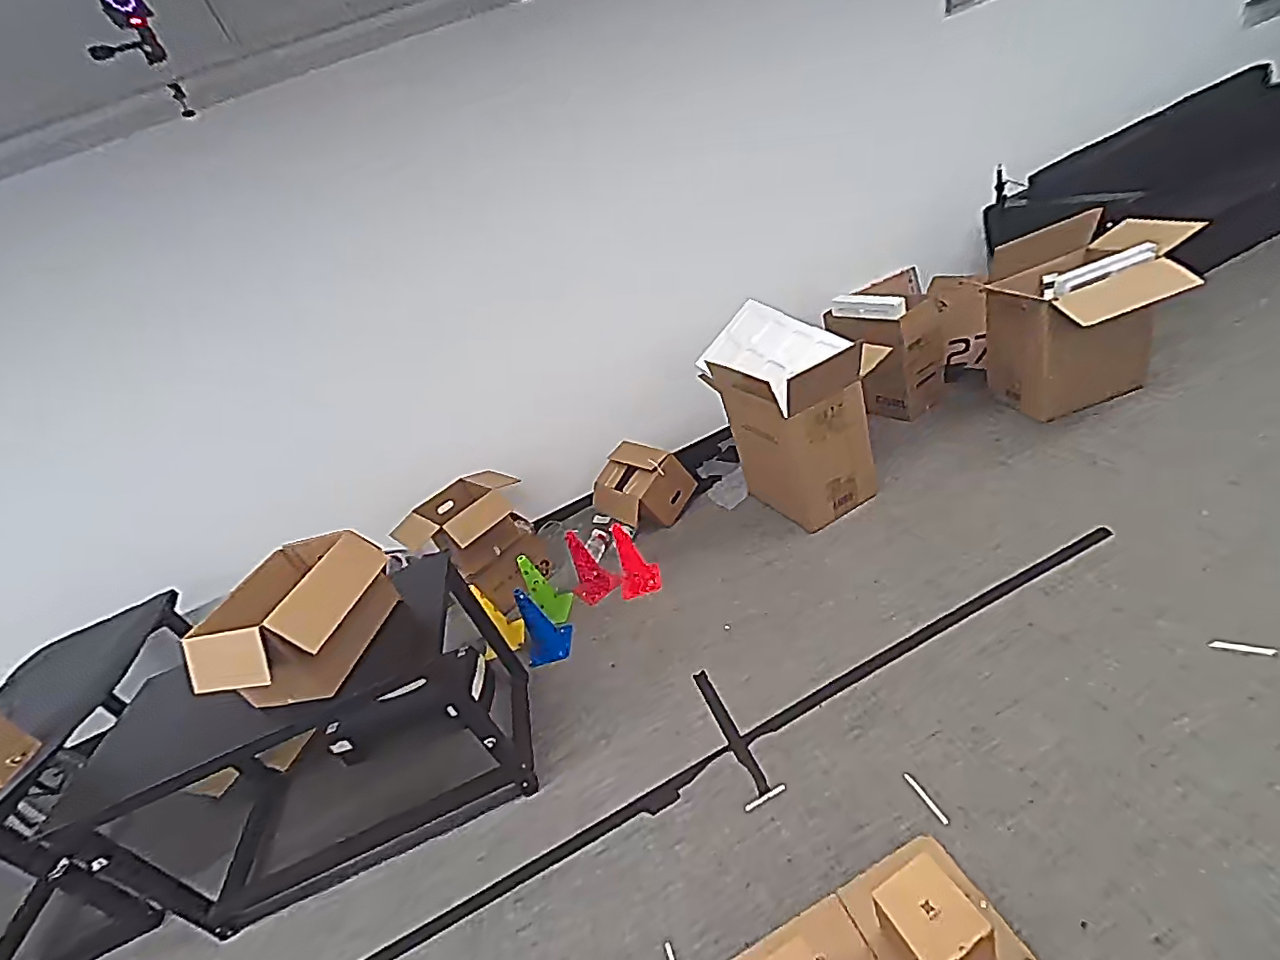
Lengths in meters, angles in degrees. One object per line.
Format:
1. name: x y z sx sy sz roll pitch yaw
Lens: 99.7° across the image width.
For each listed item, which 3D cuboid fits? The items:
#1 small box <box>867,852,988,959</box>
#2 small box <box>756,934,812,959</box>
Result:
1. small box: 0.640 0.998 1.208 0.168 0.176 0.179 -29 29 -12
2. small box: 0.333 1.144 1.157 0.168 0.176 0.179 -28 29 -8
